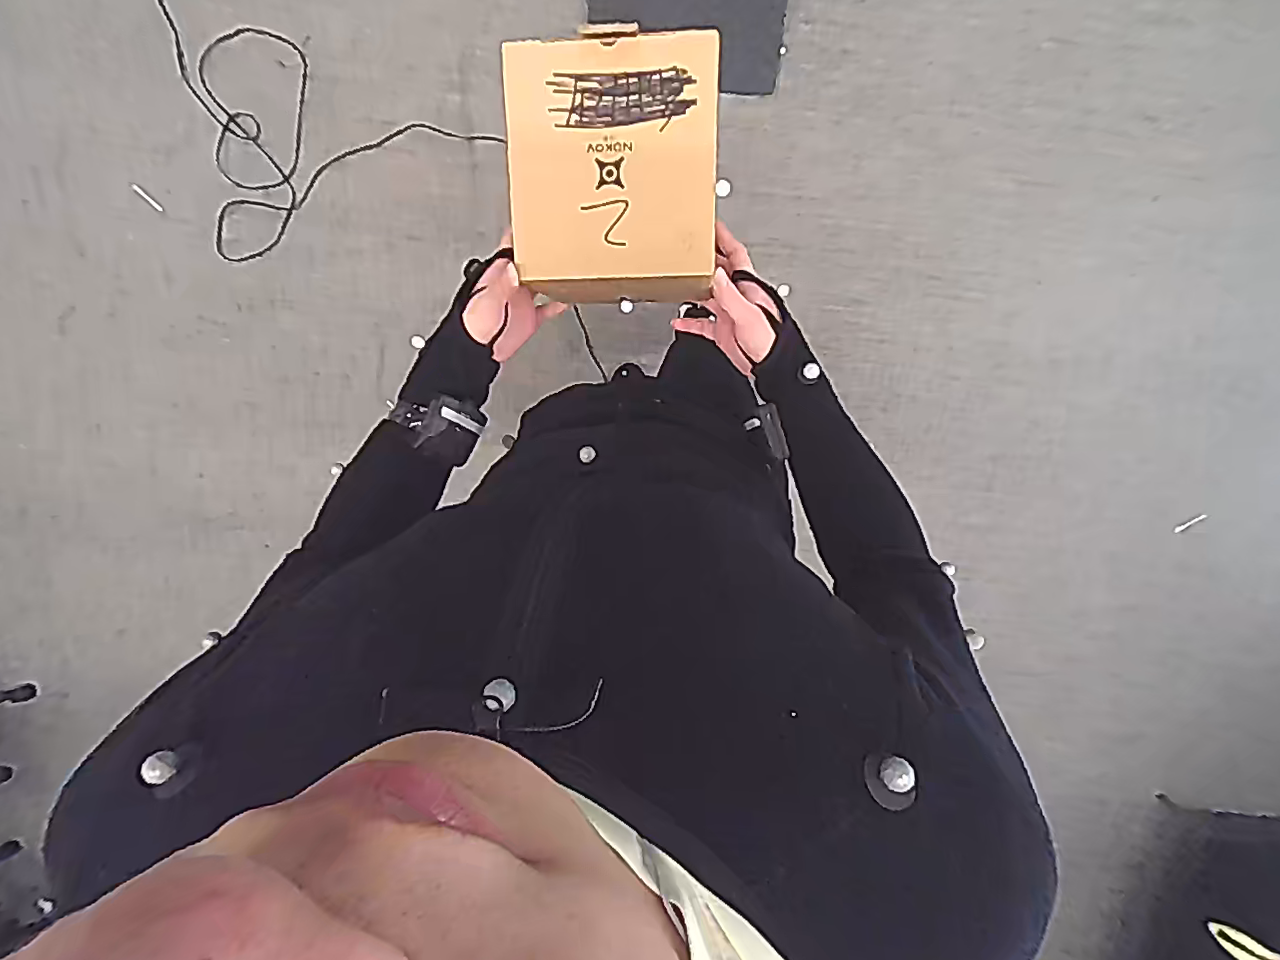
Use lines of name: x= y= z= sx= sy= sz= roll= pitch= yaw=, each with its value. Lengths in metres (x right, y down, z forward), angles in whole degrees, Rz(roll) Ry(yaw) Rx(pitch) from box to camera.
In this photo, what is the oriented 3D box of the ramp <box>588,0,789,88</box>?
ramp: x=0.143 y=-1.474 z=1.184 sx=0.509 sy=0.206 sz=0.991 roll=3 pitch=104 yaw=-1
